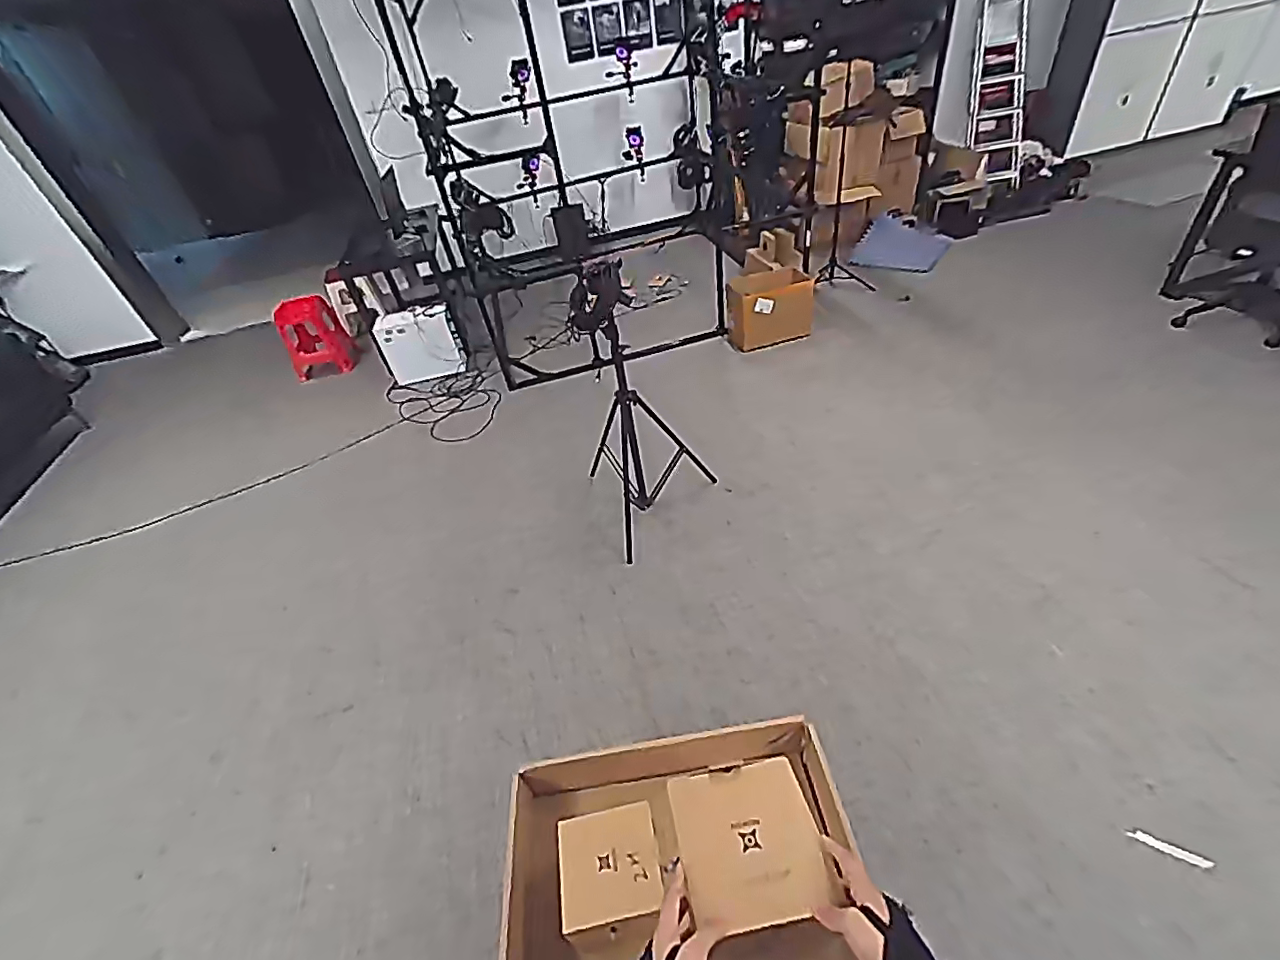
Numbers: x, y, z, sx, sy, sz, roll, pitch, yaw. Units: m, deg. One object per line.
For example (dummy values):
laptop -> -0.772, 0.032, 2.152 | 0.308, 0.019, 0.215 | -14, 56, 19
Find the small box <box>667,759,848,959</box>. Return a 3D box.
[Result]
small box -> 0.129, 0.487, 0.666 | 0.168, 0.176, 0.179 | -7, 30, -7

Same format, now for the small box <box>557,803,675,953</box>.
small box -> -0.044, 0.723, 0.980 | 0.179, 0.176, 0.168 | -12, 40, -2
